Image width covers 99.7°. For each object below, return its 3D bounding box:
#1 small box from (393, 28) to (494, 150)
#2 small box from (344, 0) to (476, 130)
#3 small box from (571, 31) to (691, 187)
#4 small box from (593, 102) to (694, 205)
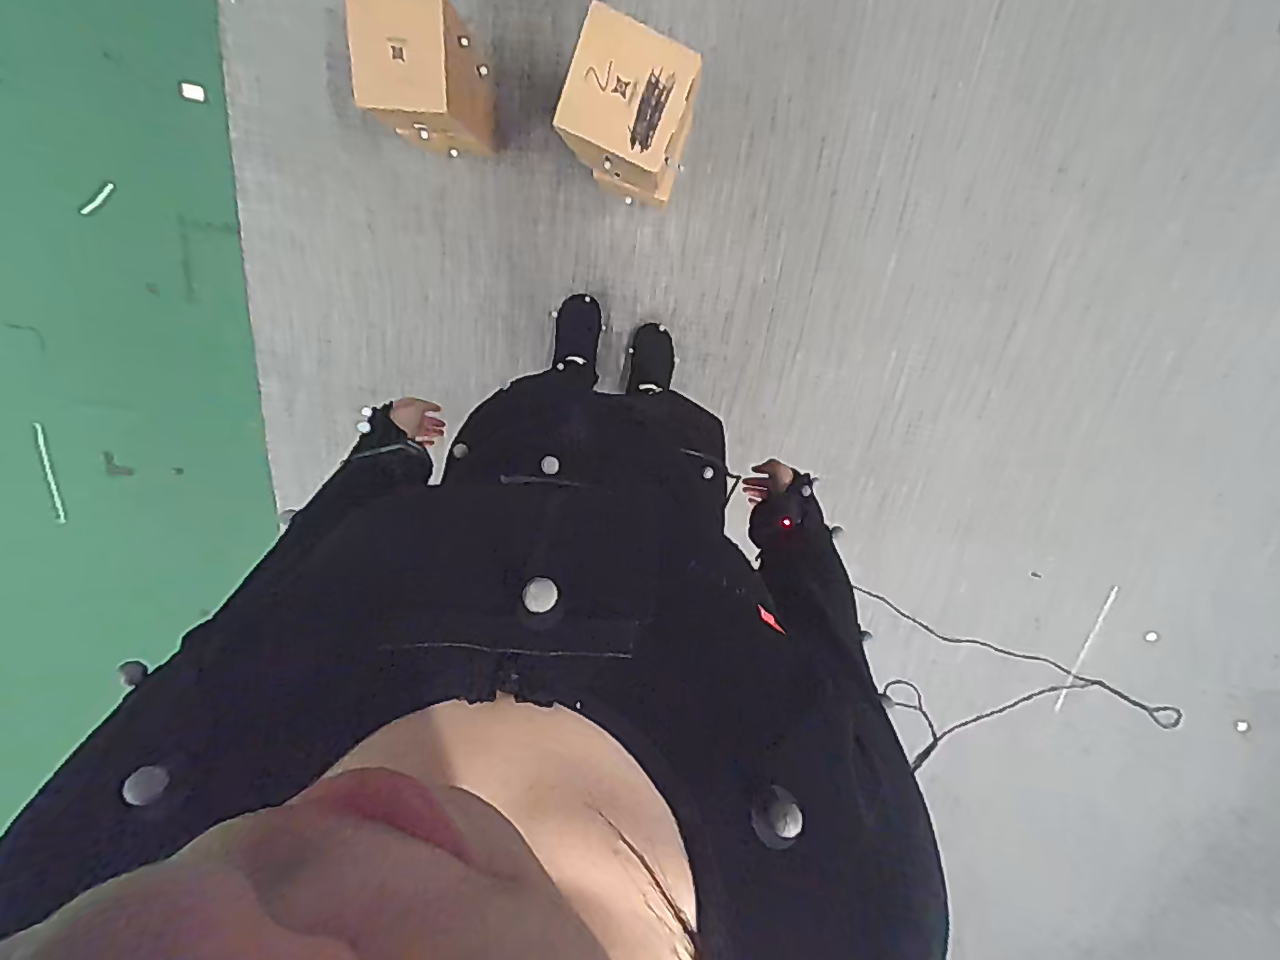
[{"bbox_3d":[-0.409,-0.816,1.135,0.168,0.176,0.179,4,111,0],"label":"small box"},{"bbox_3d":[-0.406,-0.762,0.981,0.168,0.176,0.179,4,111,1],"label":"small box"},{"bbox_3d":[-0.014,-0.672,1.007,0.168,0.176,0.179,21,111,-6],"label":"small box"},{"bbox_3d":[0.006,-0.716,1.163,0.168,0.176,0.179,17,111,-5],"label":"small box"}]
